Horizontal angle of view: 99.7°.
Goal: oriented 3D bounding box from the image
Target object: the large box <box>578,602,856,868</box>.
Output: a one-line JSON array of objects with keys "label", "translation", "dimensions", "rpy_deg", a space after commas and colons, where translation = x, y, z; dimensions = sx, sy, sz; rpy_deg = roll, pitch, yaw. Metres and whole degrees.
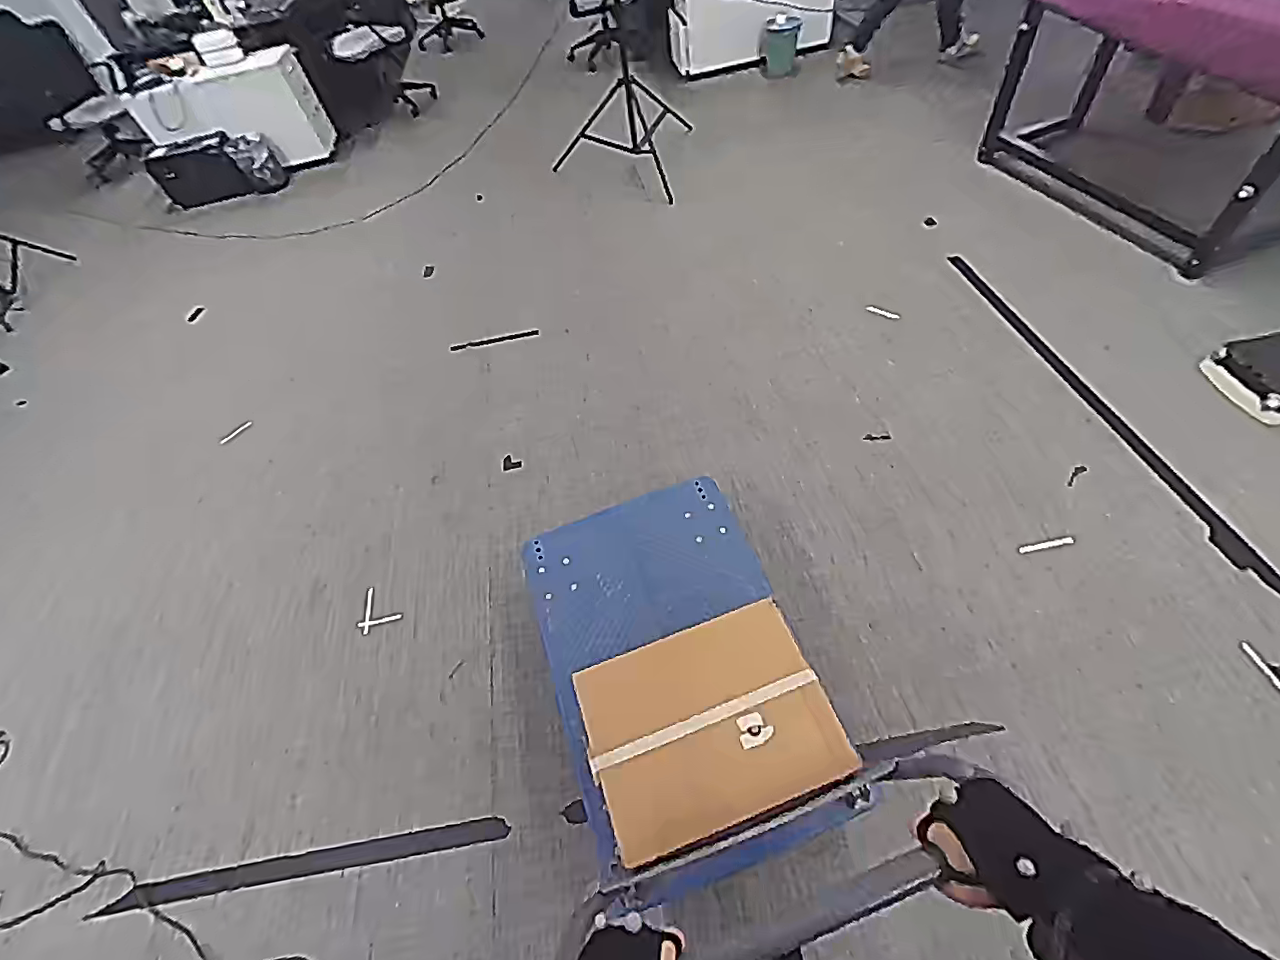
[{"label": "large box", "translation": [0.133, 0.502, 1.061], "dimensions": [0.408, 0.320, 0.320], "rpy_deg": [-20, 57, -7]}]
